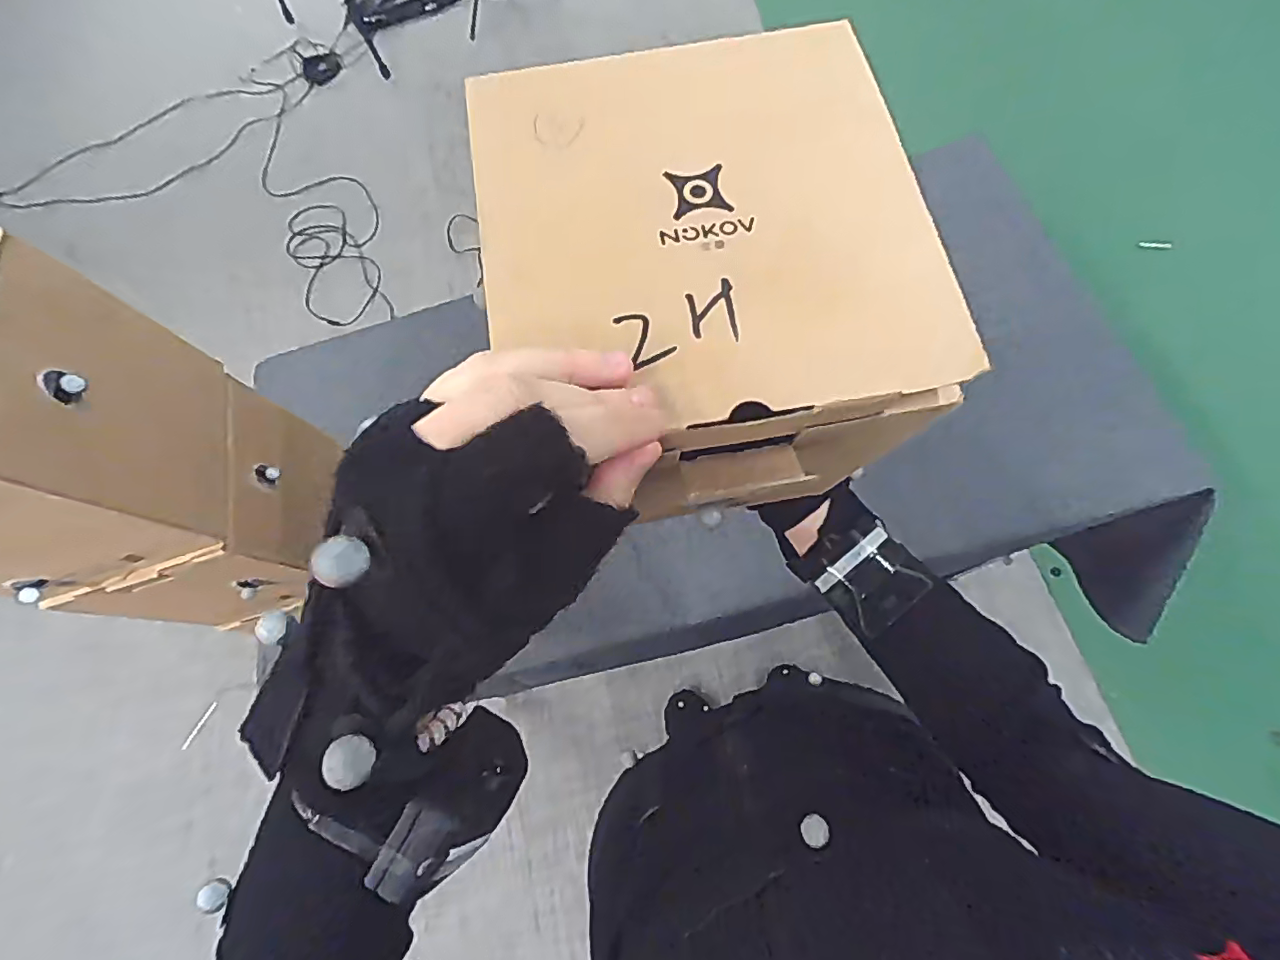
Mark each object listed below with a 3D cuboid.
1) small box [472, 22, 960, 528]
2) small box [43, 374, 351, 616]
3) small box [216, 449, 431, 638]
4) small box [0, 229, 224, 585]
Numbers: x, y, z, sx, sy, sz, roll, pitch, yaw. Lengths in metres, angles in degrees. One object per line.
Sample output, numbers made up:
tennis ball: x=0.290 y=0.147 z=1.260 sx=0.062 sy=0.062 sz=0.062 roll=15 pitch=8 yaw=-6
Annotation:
small box: x=0.022 y=-0.082 z=0.286 sx=0.168 sy=0.176 sz=0.179 roll=-9 pitch=77 yaw=0
small box: x=-0.414 y=0.030 z=0.537 sx=0.168 sy=0.176 sz=0.179 roll=-17 pitch=68 yaw=2
small box: x=-0.389 y=0.089 z=0.687 sx=0.168 sy=0.176 sz=0.179 roll=-18 pitch=68 yaw=3
small box: x=-0.441 y=-0.032 z=0.388 sx=0.168 sy=0.176 sz=0.179 roll=-18 pitch=68 yaw=1
